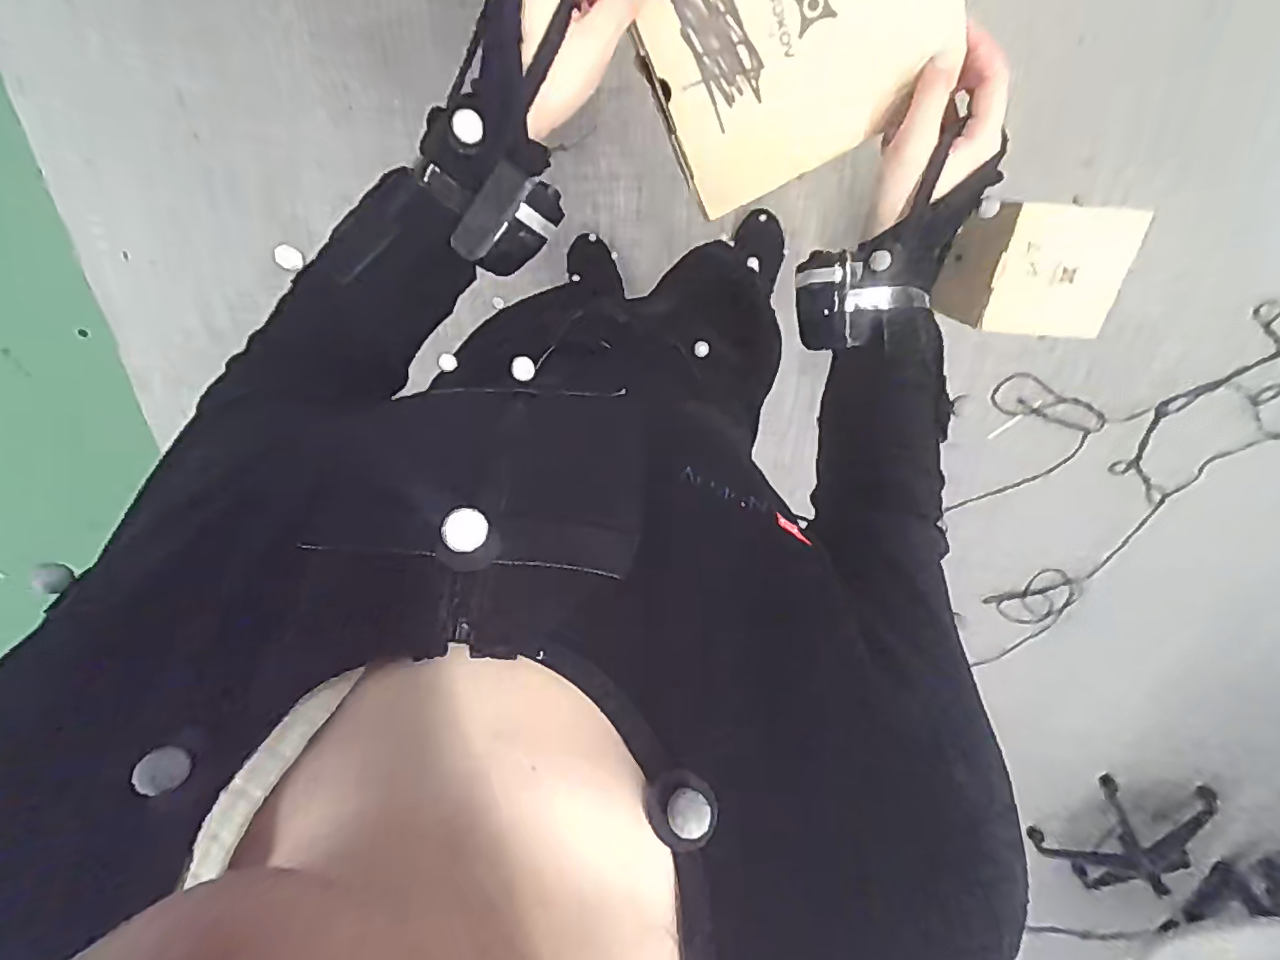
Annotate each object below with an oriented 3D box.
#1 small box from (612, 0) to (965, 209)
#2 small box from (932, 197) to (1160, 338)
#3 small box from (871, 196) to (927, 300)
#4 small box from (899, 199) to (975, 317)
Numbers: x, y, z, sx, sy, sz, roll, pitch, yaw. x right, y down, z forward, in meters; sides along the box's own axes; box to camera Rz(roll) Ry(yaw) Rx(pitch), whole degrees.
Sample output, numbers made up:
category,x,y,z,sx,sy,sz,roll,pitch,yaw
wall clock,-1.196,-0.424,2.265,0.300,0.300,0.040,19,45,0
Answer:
category,x,y,z,sx,sy,sz,roll,pitch,yaw
small box,0.079,-0.318,0.357,0.179,0.176,0.168,-23,130,15
small box,0.575,-0.317,0.796,0.179,0.176,0.168,4,118,-1
small box,0.587,-0.464,1.089,0.168,0.176,0.179,5,119,-1
small box,0.579,-0.389,0.944,0.168,0.176,0.179,2,118,0
